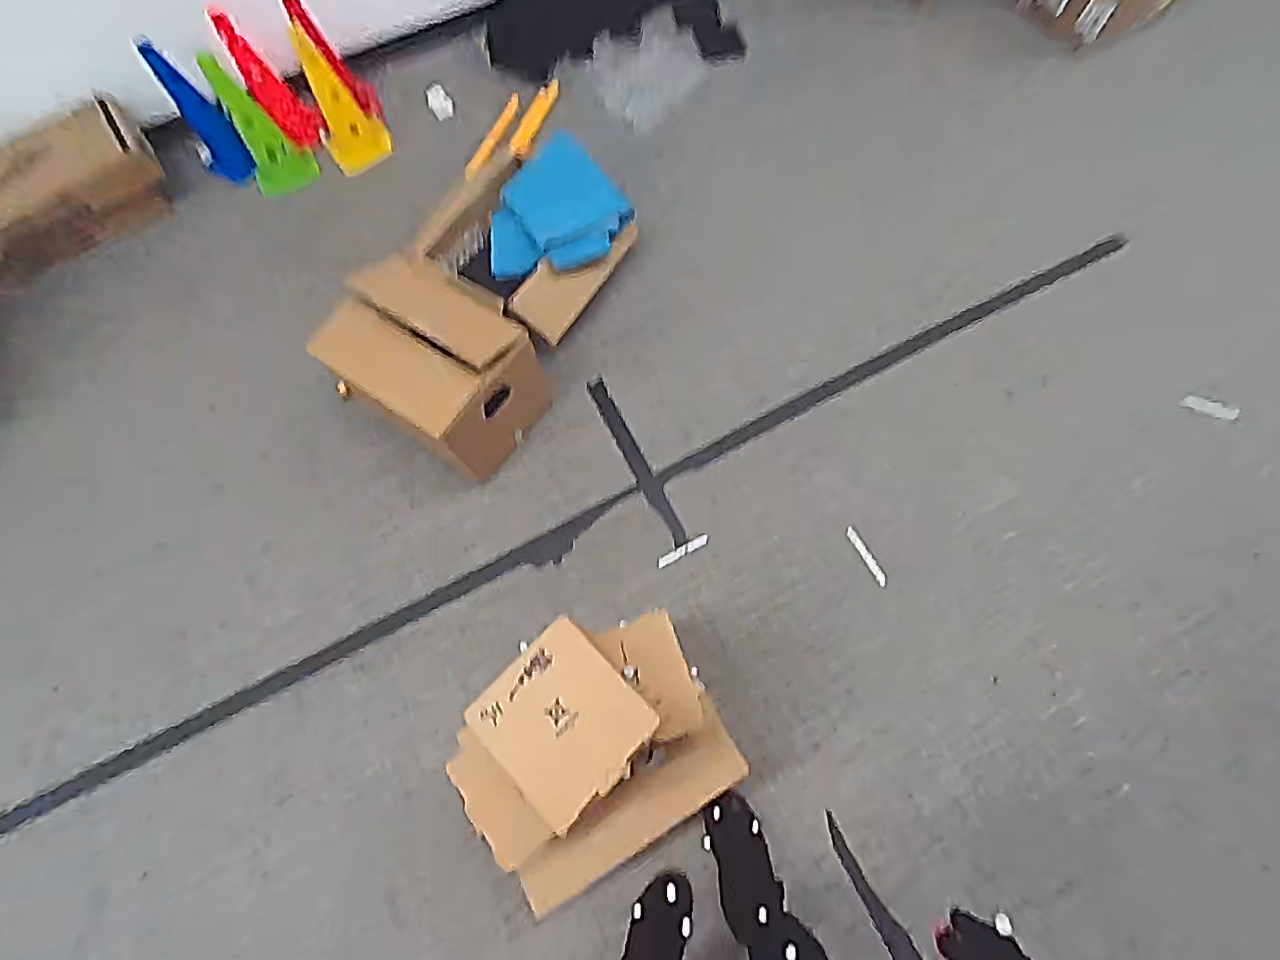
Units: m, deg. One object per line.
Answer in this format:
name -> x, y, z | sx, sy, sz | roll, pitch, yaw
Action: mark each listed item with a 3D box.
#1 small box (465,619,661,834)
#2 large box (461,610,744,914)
small box -> -0.088, 0.306, 0.705 | 0.179, 0.176, 0.168 | 43, 76, 16
large box -> -0.064, 0.514, 1.060 | 0.408, 0.320, 0.320 | -31, 72, -10
